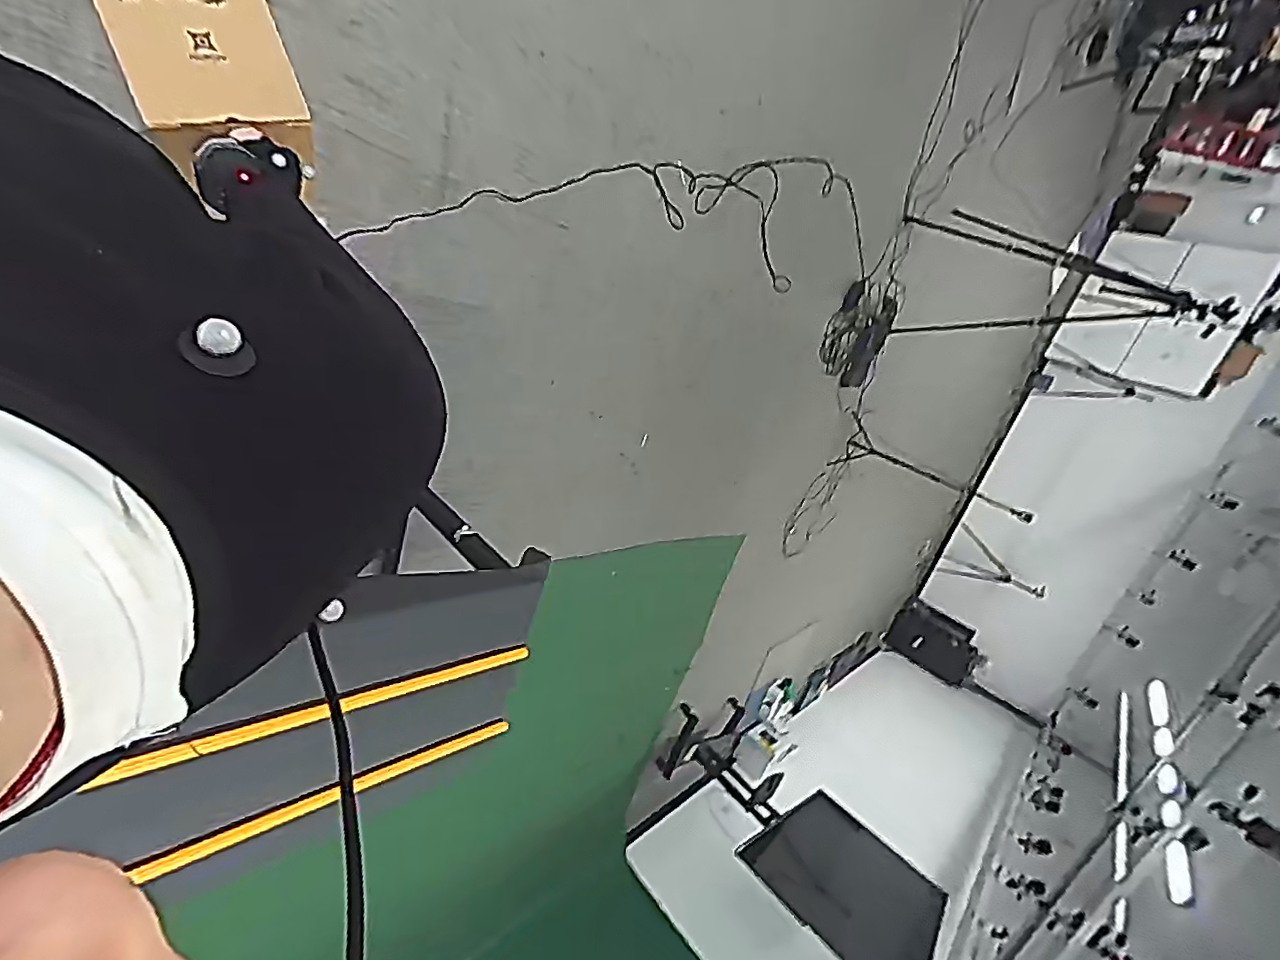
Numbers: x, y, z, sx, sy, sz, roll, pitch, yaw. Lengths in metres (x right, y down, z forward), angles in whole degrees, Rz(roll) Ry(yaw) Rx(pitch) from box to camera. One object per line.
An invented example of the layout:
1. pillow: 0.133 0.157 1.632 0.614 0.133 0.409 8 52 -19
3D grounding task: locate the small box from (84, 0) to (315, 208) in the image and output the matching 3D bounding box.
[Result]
1. small box: -0.535 -0.469 0.685 0.168 0.176 0.179 -24 95 -28
